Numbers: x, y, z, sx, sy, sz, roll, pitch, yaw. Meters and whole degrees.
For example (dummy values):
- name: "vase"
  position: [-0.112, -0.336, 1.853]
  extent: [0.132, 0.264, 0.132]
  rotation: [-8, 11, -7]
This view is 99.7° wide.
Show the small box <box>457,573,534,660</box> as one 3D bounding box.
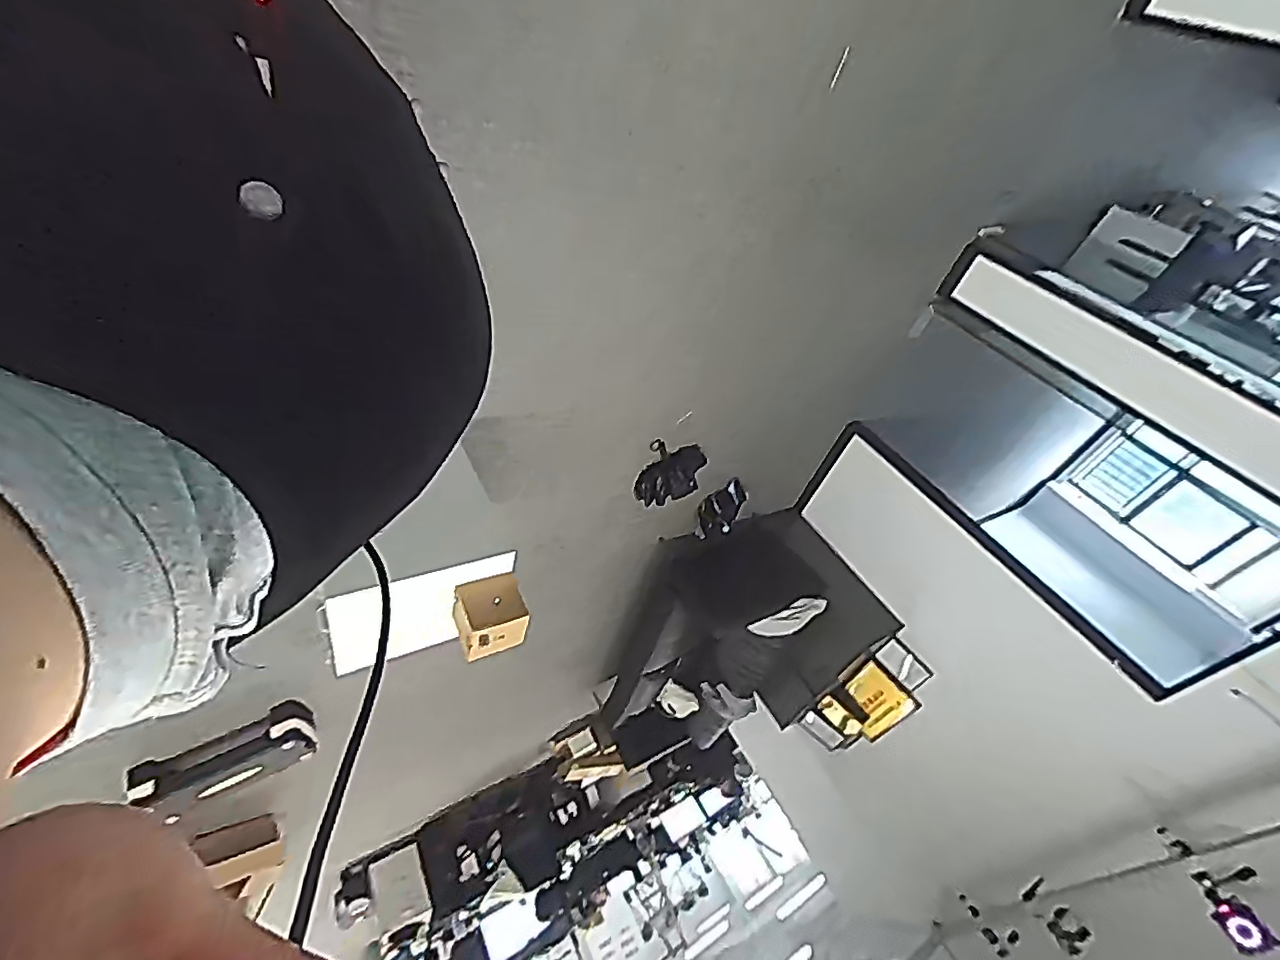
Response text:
- name: "small box"
  position: [-0.449, 0.413, 1.653]
  extent: [0.179, 0.176, 0.168]
  rotation: [-12, 141, -33]
